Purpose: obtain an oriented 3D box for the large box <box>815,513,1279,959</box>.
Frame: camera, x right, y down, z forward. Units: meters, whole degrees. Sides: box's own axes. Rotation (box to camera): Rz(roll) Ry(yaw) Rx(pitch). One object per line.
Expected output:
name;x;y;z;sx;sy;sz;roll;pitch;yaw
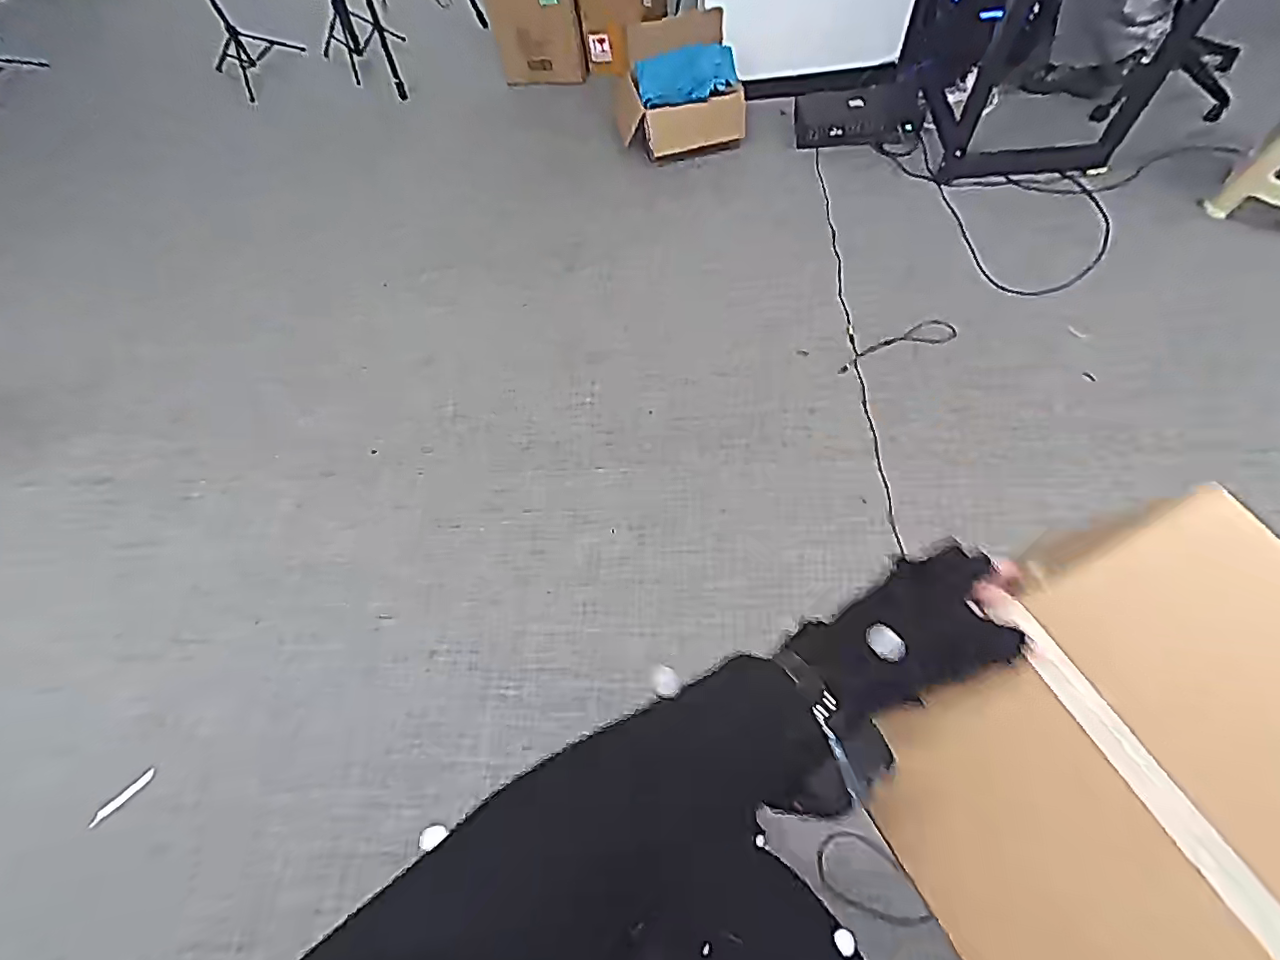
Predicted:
large box;0.398;0.294;0.456;0.320;0.320;0.408;-33;70;6
